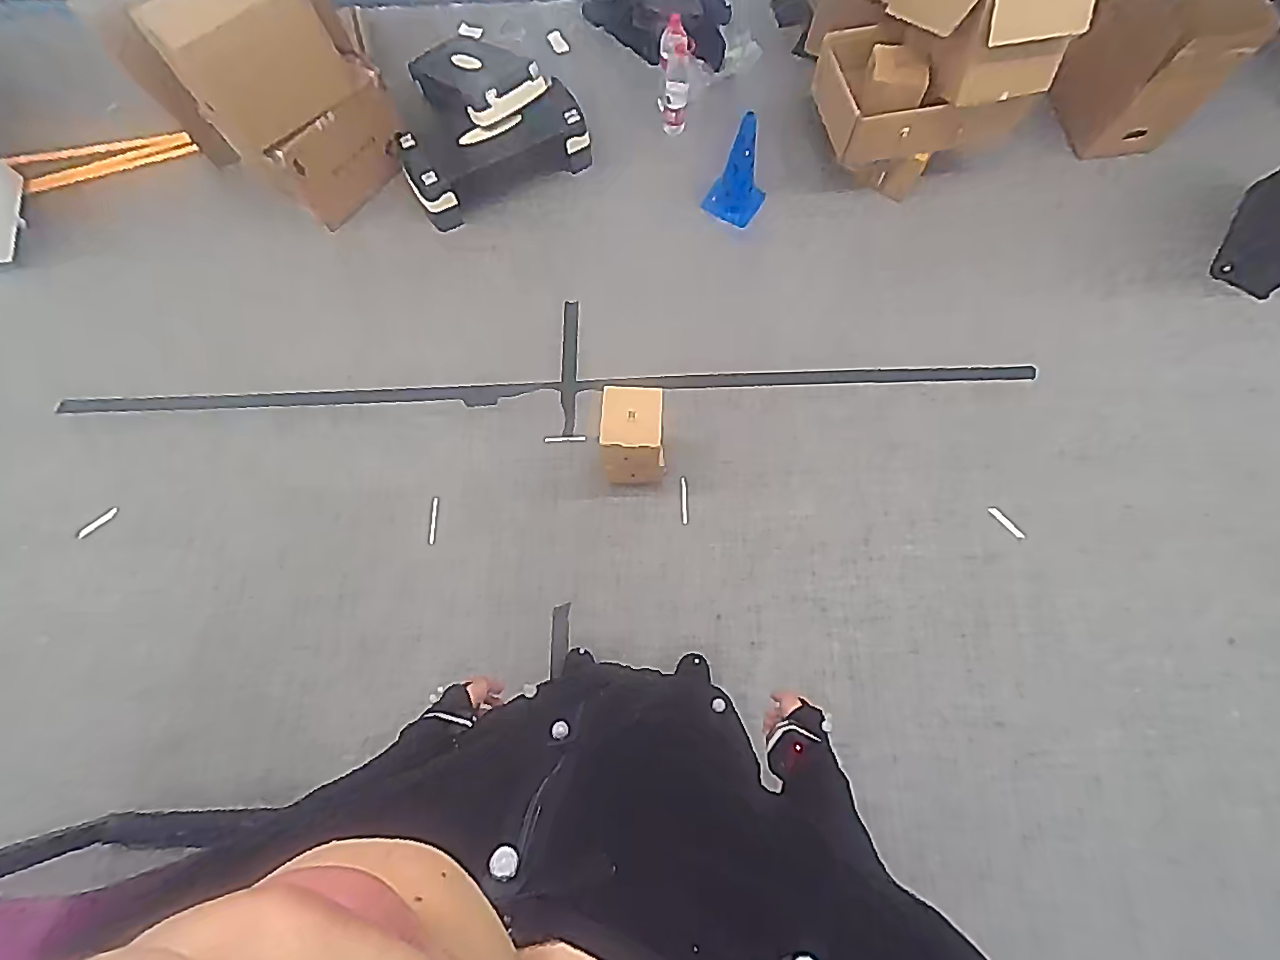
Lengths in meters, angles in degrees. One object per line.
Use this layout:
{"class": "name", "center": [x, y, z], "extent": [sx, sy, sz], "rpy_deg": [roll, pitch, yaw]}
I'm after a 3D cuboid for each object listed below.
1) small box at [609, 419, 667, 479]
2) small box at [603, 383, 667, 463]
{"class": "small box", "center": [-0.008, -0.103, 1.700], "extent": [0.179, 0.176, 0.168], "rpy_deg": [-2, 74, 1]}
{"class": "small box", "center": [-0.014, -0.160, 1.548], "extent": [0.168, 0.176, 0.179], "rpy_deg": [3, 75, 1]}
